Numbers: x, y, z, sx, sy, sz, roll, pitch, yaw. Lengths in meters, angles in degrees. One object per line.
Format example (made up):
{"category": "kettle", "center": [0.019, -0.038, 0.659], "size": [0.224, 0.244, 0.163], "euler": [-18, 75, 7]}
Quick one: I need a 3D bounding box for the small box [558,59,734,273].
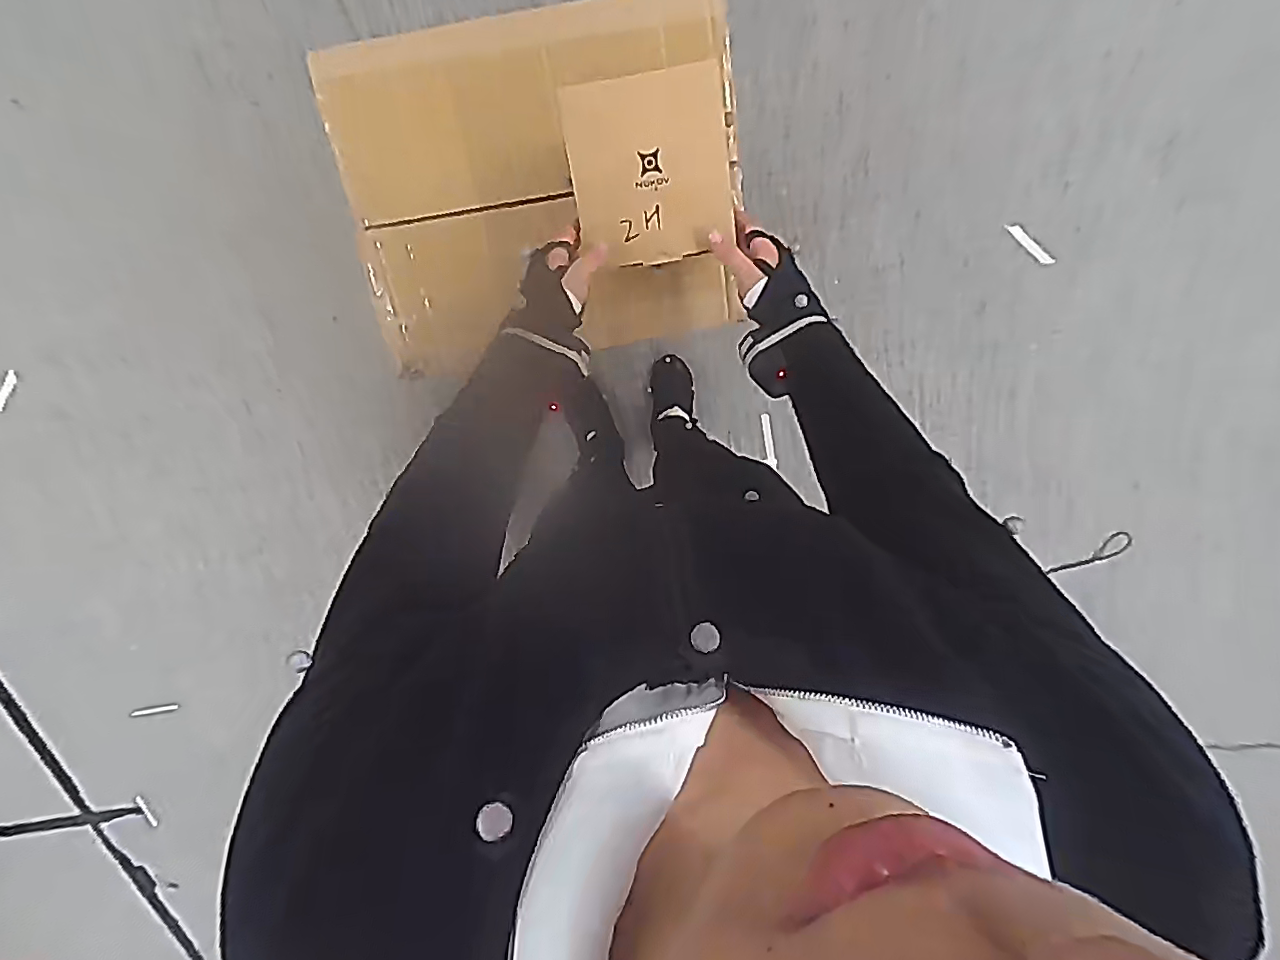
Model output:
{"category": "small box", "center": [0.007, -0.349, 0.637], "size": [0.168, 0.176, 0.179], "euler": [-9, 110, 3]}
